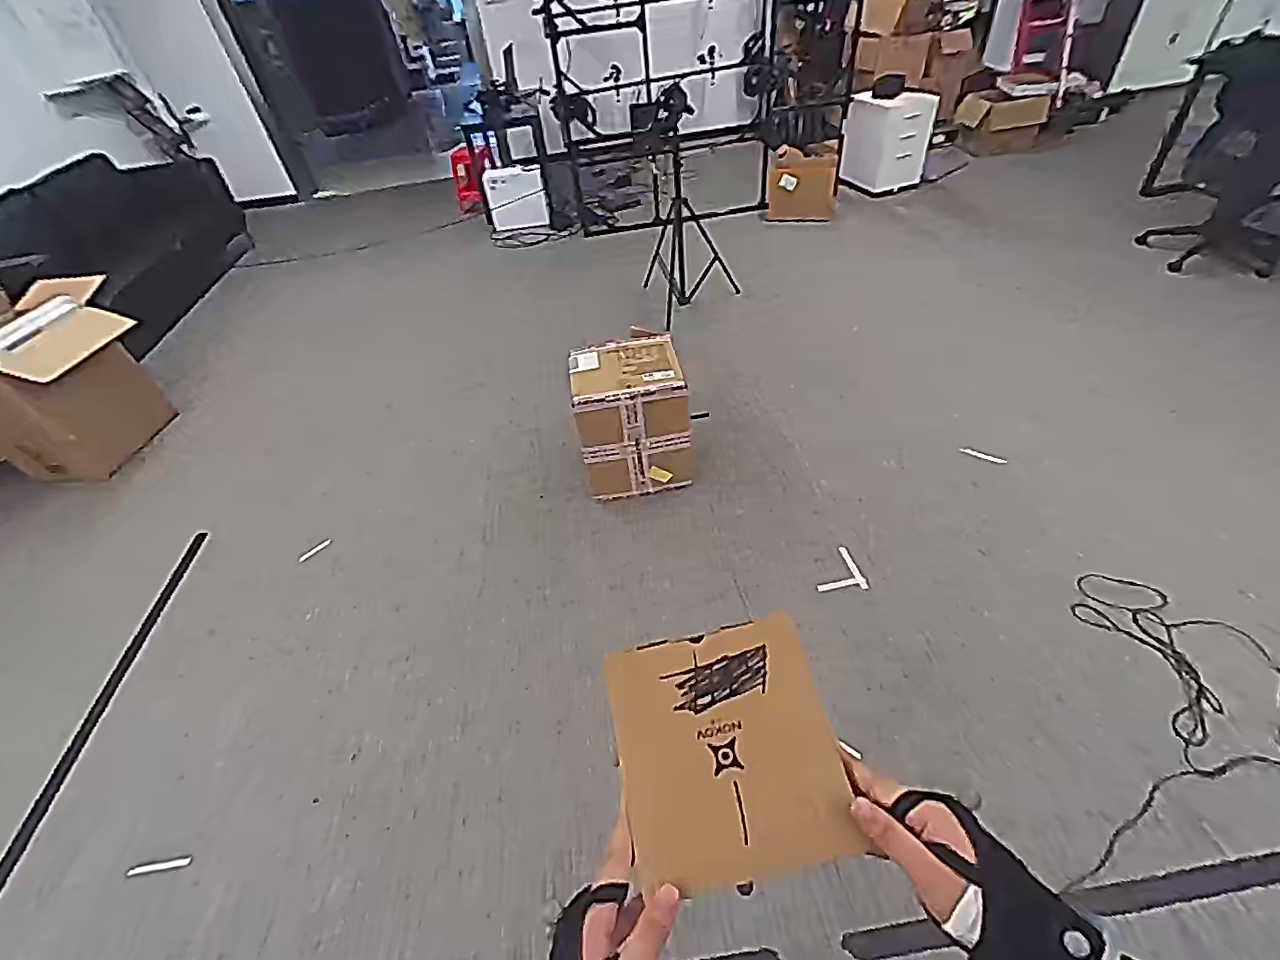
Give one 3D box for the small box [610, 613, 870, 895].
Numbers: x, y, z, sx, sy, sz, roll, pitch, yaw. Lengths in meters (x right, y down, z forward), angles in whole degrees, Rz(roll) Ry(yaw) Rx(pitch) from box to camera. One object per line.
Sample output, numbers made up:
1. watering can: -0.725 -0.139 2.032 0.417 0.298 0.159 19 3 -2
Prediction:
1. small box: 0.074 0.245 0.489 0.168 0.176 0.179 -12 58 -1
